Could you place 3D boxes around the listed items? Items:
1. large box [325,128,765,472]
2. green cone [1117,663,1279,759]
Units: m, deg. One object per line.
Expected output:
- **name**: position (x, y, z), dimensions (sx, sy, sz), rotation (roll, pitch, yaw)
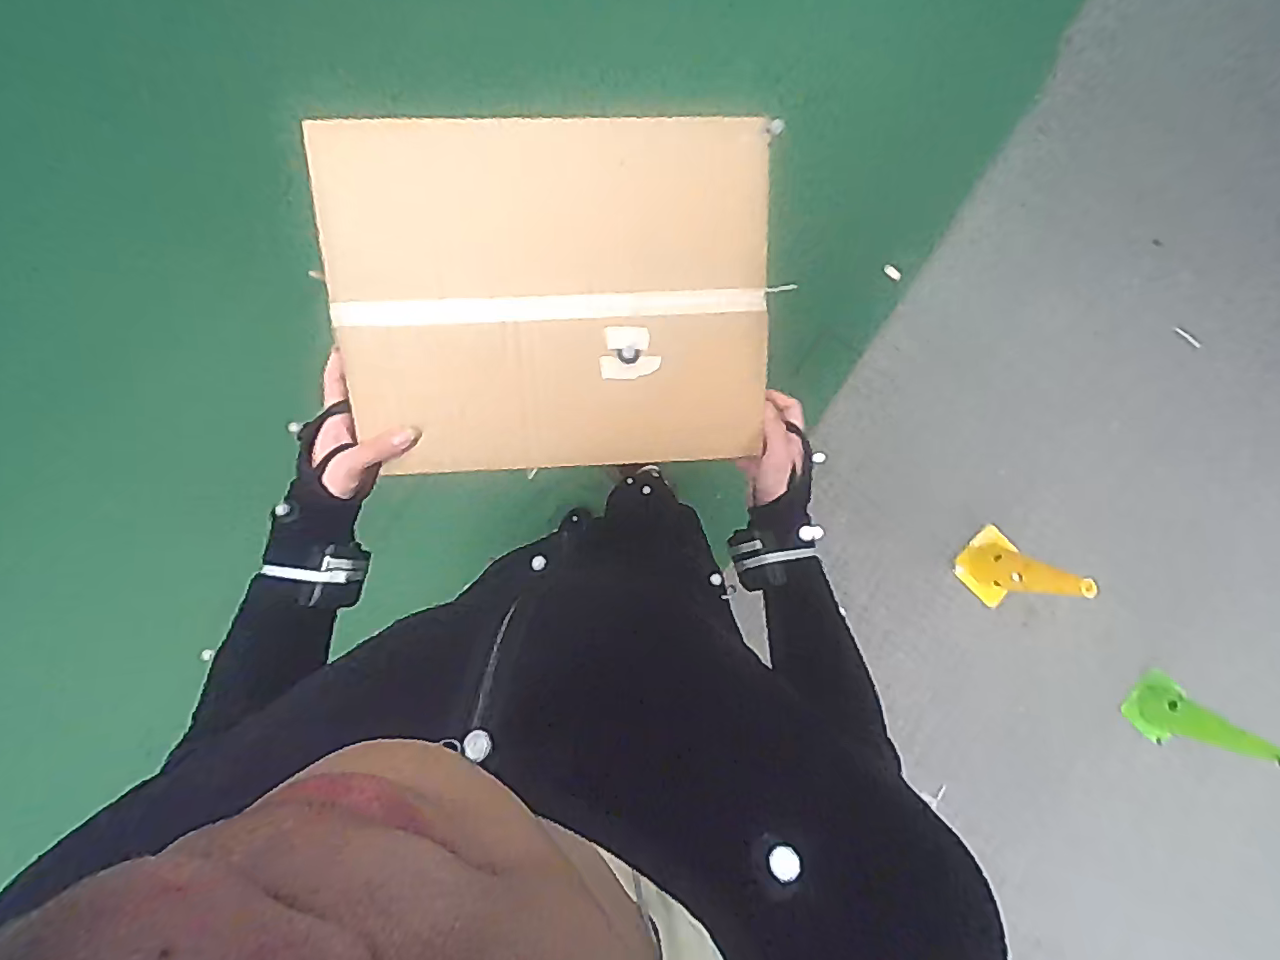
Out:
- **large box**: position (-0.091, -0.200, 0.667), dimensions (0.408, 0.320, 0.320), rotation (-2, 104, -5)
- **green cone**: position (1.715, 0.733, 1.621), dimensions (0.202, 0.368, 0.200), rotation (40, 87, -3)
